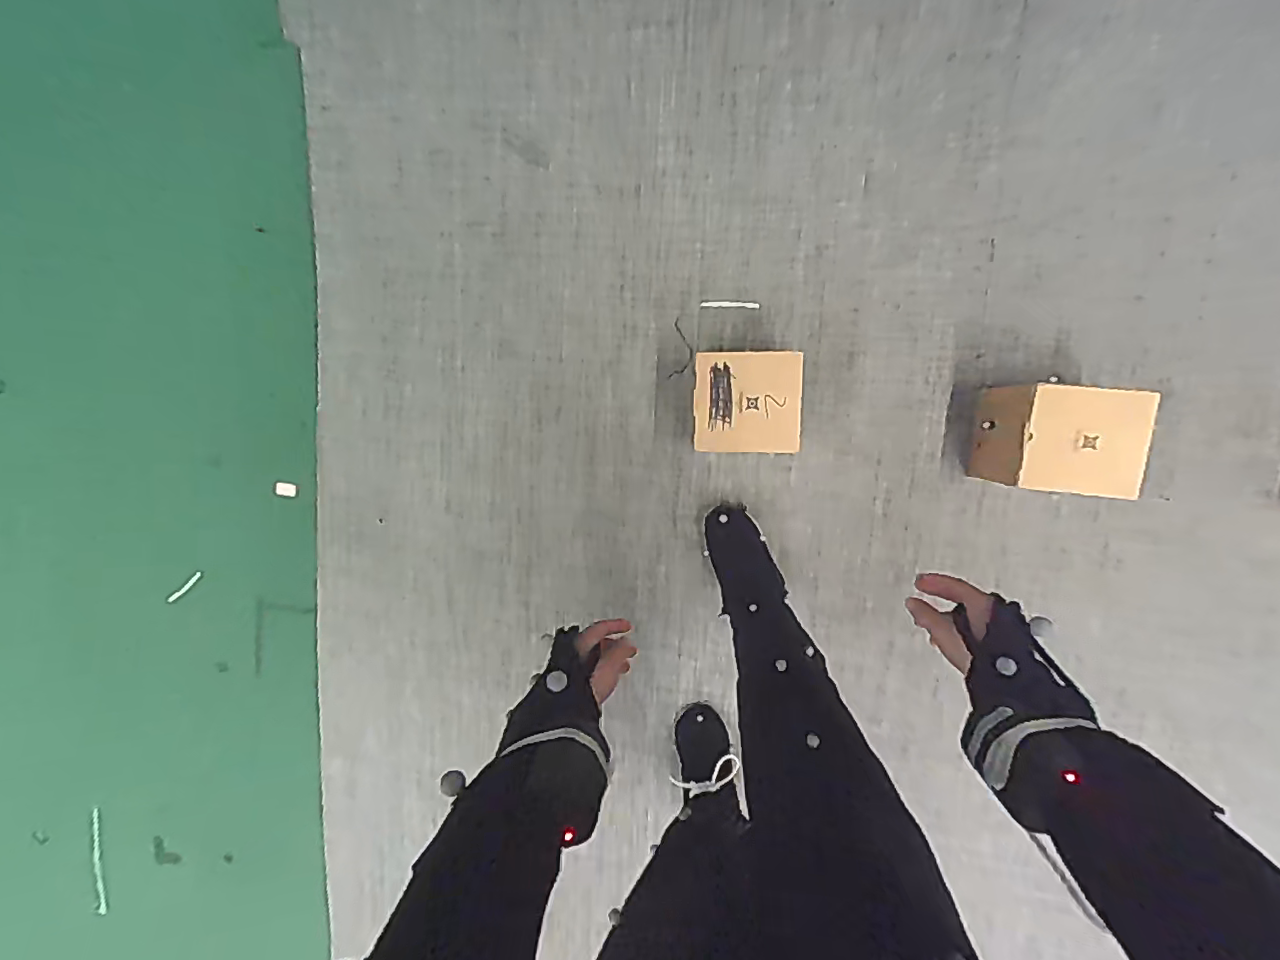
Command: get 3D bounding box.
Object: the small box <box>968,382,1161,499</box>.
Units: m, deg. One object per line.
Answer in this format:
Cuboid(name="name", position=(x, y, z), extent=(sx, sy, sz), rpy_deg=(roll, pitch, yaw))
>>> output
Cuboid(name="small box", position=(0.687, -0.071, 0.898), extent=(0.179, 0.176, 0.168), rpy_deg=(6, 99, 8))
